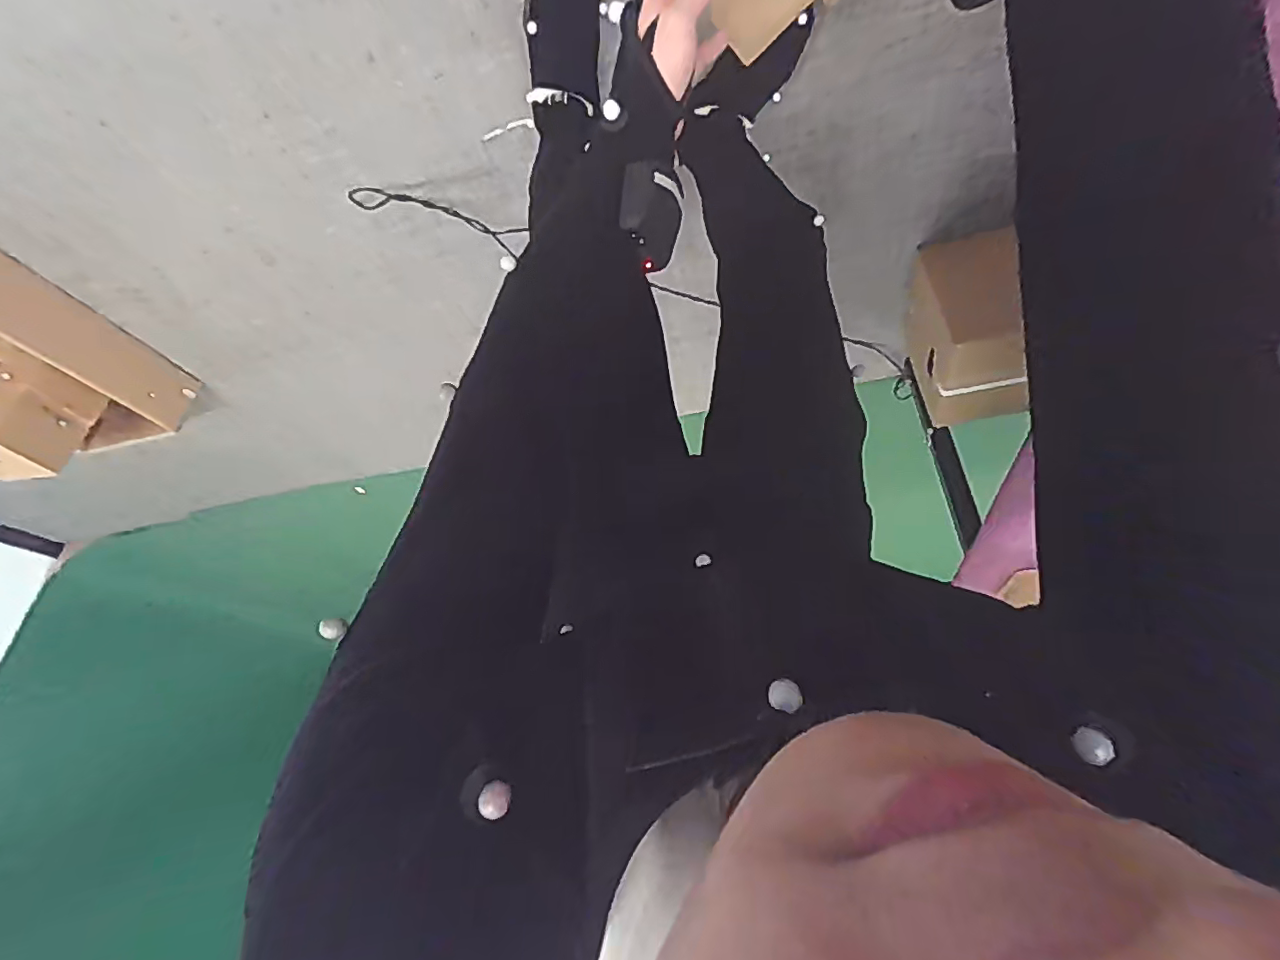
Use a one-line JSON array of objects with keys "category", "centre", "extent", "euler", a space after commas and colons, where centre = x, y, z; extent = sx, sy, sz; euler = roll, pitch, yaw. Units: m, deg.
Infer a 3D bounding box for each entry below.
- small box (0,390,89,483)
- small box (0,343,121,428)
[{"category": "small box", "centre": [-1.603, -0.112, 1.392], "extent": [0.179, 0.176, 0.168], "euler": [-5, 147, 7]}, {"category": "small box", "centre": [-1.597, -0.249, 1.480], "extent": [0.179, 0.176, 0.168], "euler": [-8, 146, 10]}]
